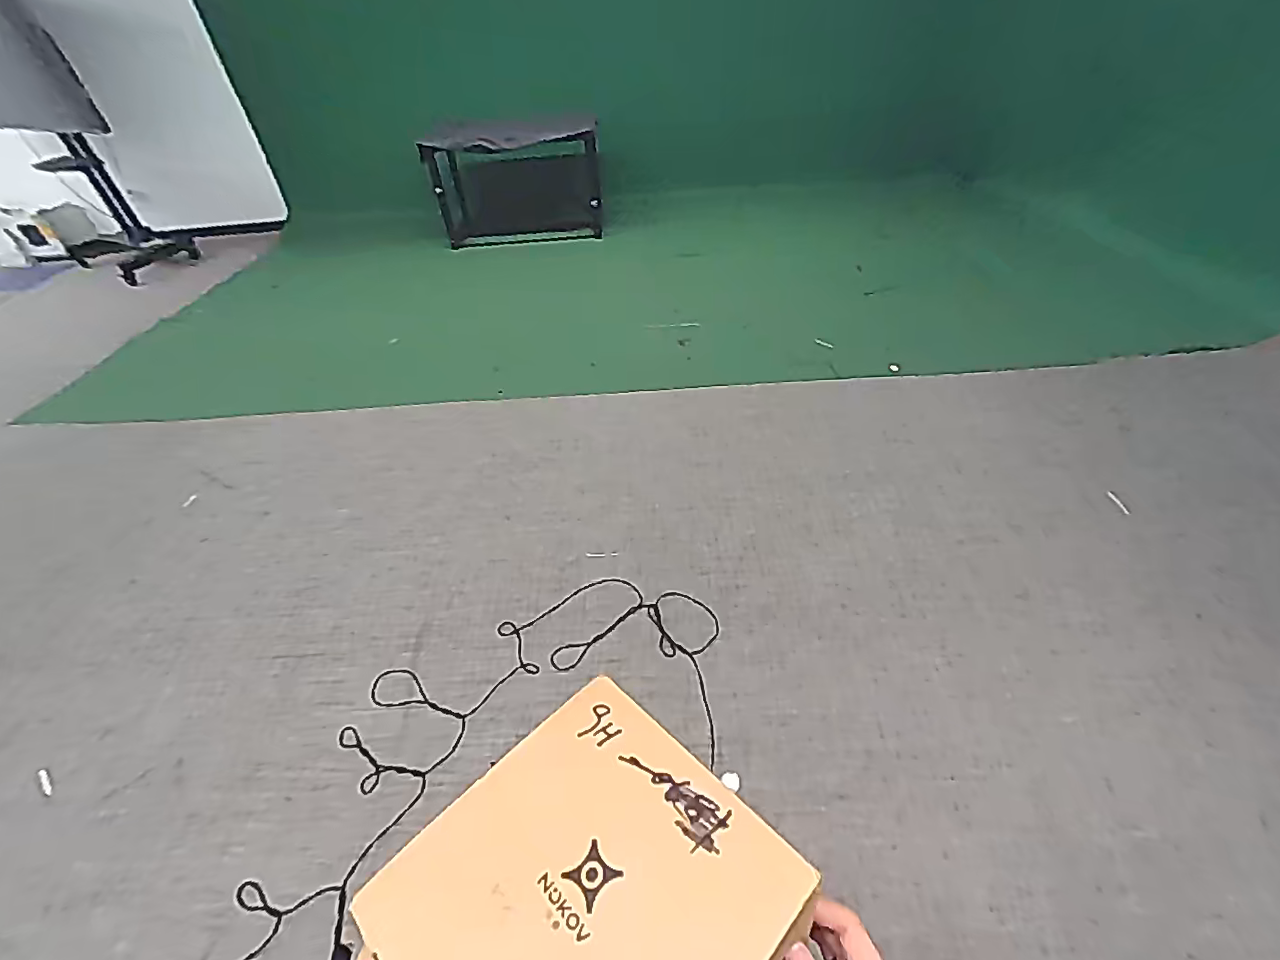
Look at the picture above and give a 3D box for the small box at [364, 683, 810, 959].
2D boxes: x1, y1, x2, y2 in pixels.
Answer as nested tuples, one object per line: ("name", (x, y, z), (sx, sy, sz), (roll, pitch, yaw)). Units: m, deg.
("small box", (-0.018, 0.271, 0.322), (0.179, 0.176, 0.168), (-36, 46, -29))
